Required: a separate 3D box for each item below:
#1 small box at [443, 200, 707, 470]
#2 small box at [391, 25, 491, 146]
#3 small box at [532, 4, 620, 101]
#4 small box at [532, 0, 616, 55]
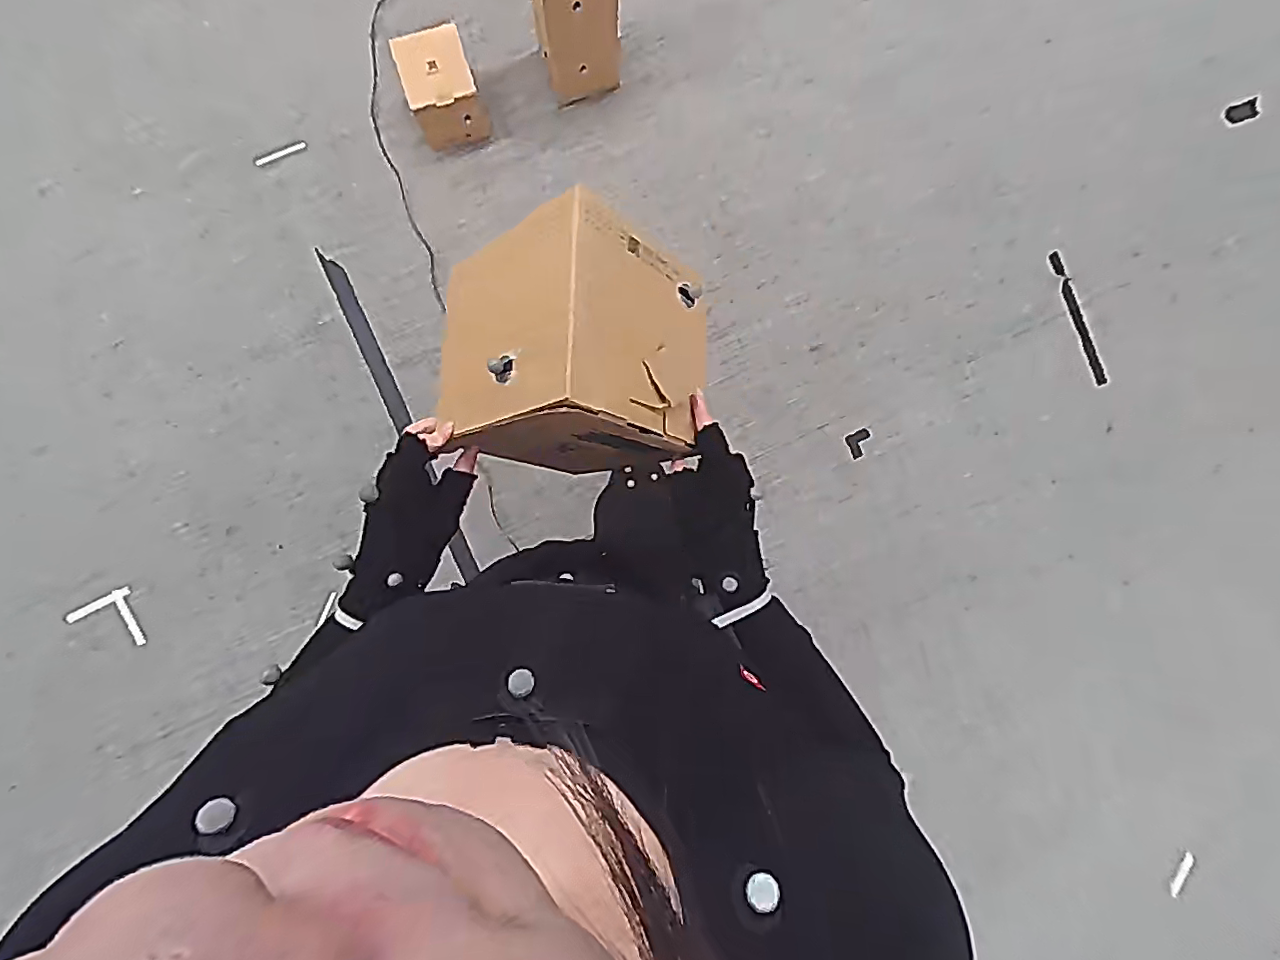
[{"bbox_3d":[-0.057,-0.113,0.490,0.179,0.168,0.176,-8,76,41],"label":"small box"},{"bbox_3d":[-0.493,-0.981,1.366,0.168,0.176,0.179,-18,91,-3],"label":"small box"},{"bbox_3d":[-0.156,-1.116,1.380,0.179,0.176,0.168,-21,92,-2],"label":"small box"},{"bbox_3d":[-0.156,-1.109,1.215,0.179,0.176,0.168,-19,92,-3],"label":"small box"}]
